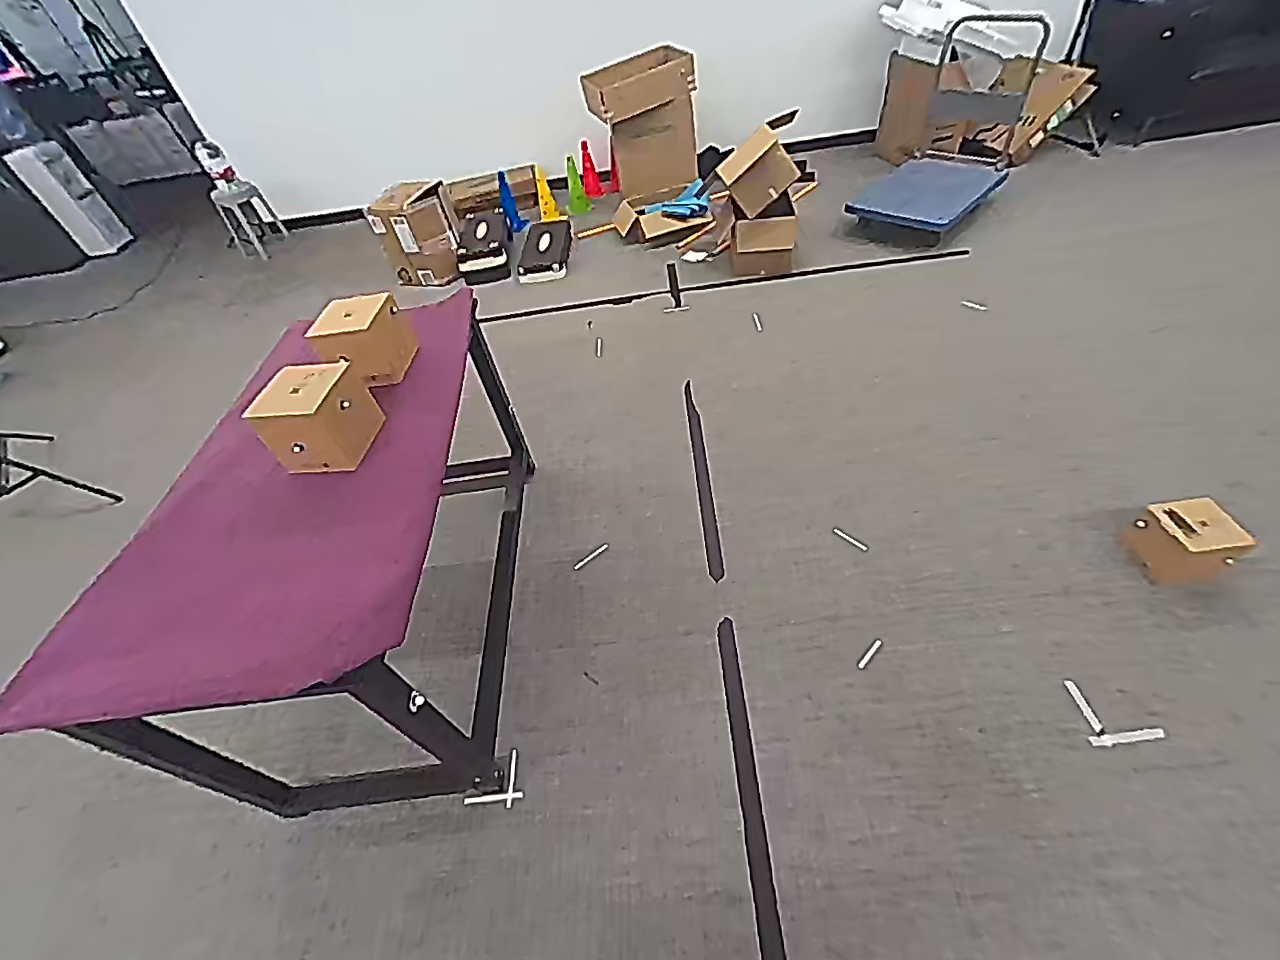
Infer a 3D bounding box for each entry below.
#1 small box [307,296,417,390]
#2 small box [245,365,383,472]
[{"bbox_3d":[-0.707,-0.348,1.400,0.168,0.176,0.179,-6,46,6],"label":"small box"},{"bbox_3d":[-0.704,-0.130,1.194,0.168,0.176,0.179,-2,47,8],"label":"small box"}]
